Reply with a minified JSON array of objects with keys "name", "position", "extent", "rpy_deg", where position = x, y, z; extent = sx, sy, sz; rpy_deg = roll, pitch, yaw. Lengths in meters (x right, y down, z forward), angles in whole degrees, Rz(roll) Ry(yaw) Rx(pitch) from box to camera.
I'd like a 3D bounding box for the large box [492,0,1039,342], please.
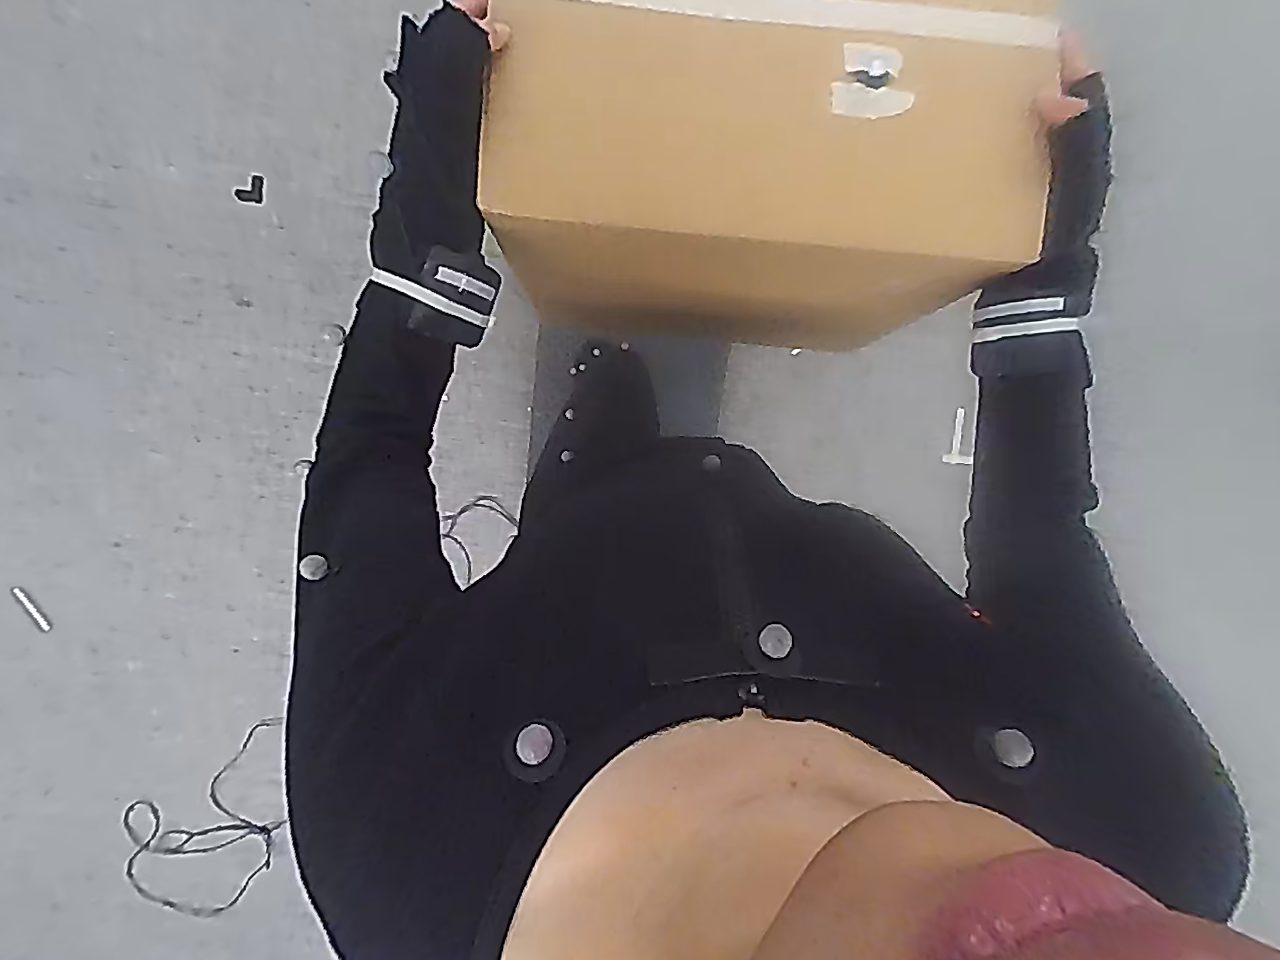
[{"name":"large box","position":[0.090,-0.340,0.546],"extent":[0.408,0.320,0.320],"rpy_deg":[4,91,-3]}]
